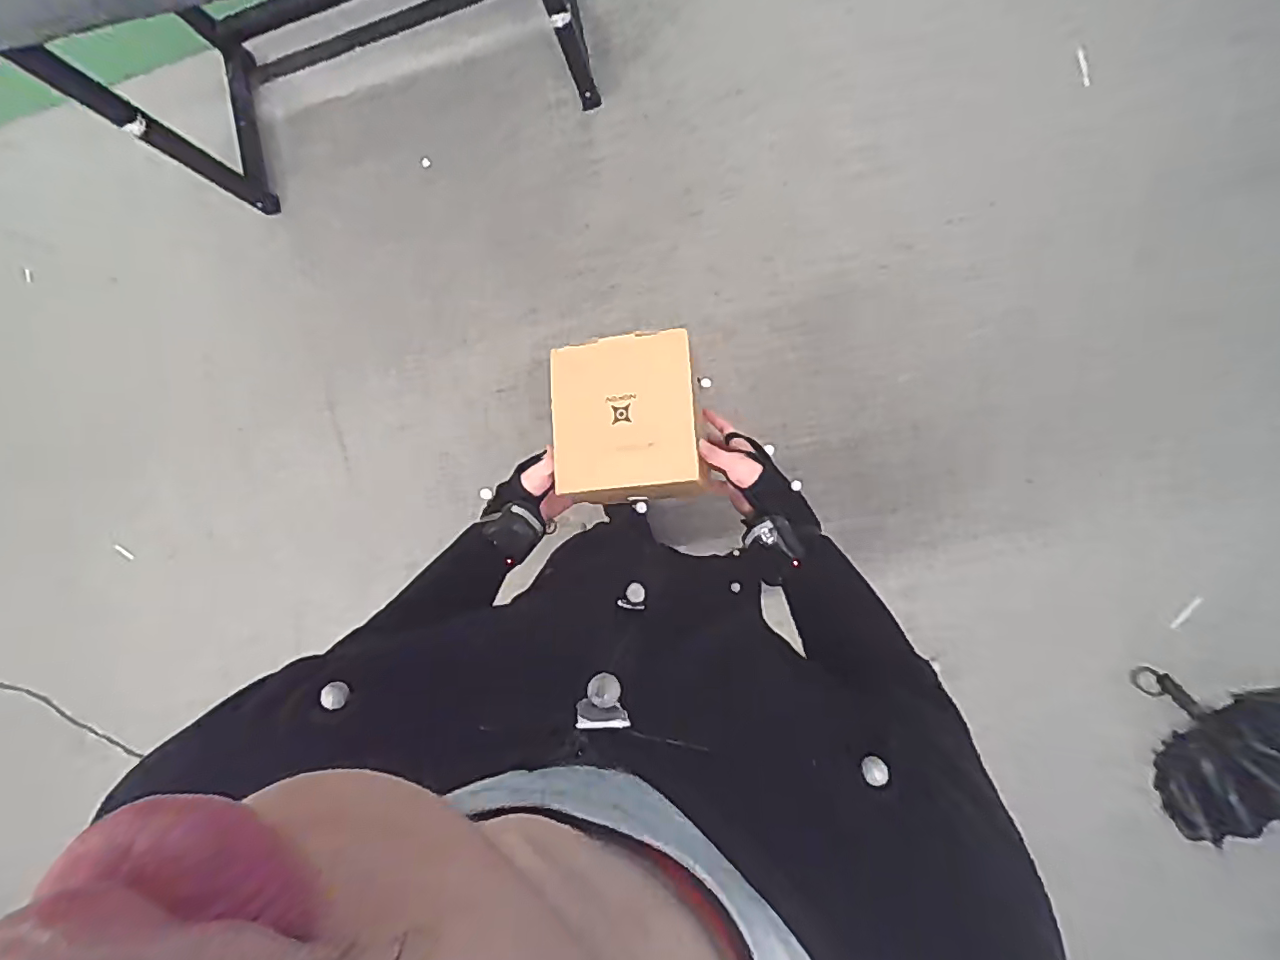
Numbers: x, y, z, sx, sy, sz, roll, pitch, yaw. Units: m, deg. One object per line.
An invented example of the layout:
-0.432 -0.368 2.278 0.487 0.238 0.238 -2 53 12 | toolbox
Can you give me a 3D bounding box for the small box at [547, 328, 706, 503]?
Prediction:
-0.010 -0.069 0.687 0.168 0.176 0.179 -5 82 12 | small box
